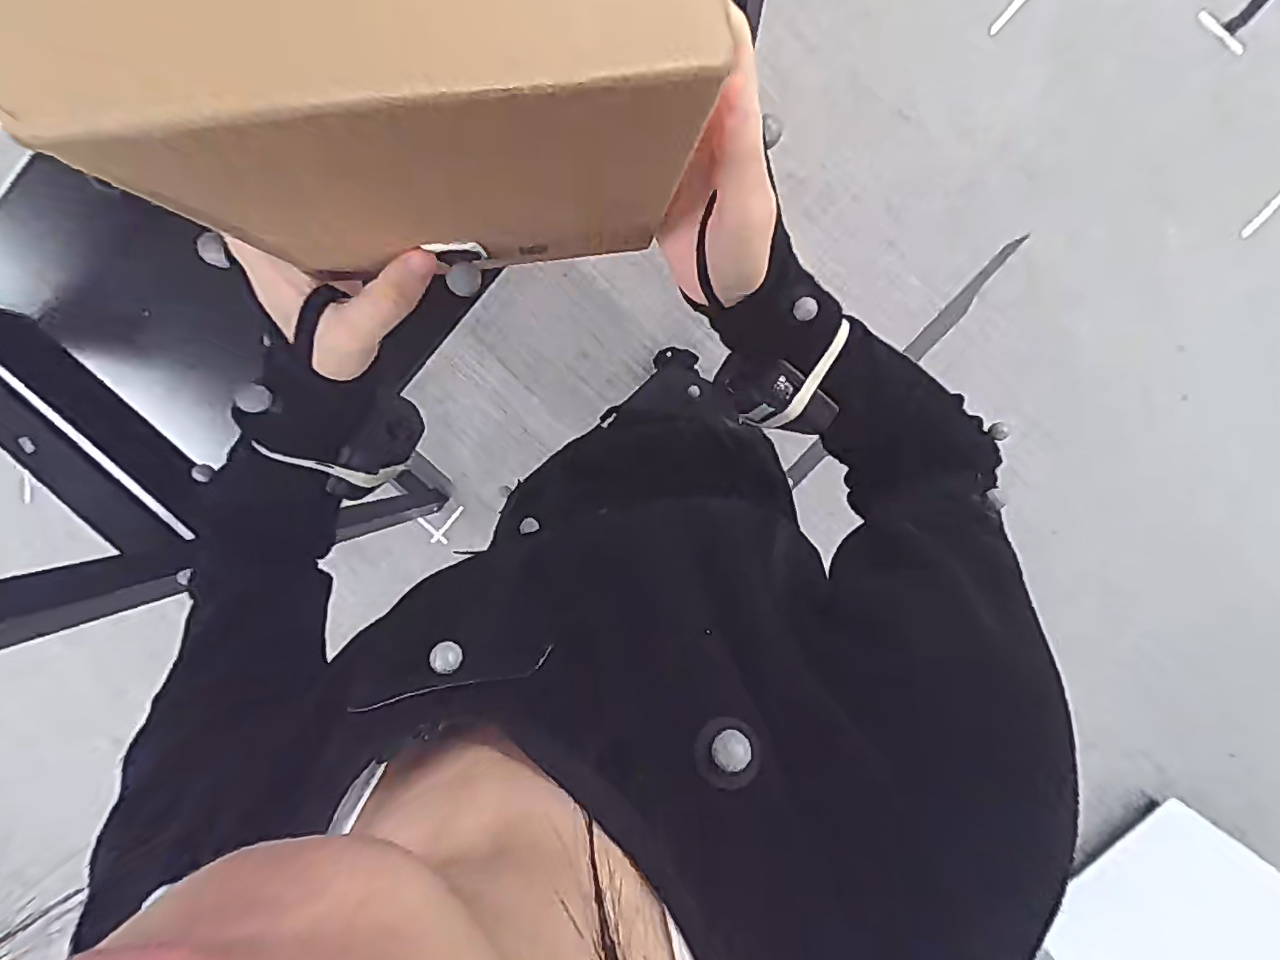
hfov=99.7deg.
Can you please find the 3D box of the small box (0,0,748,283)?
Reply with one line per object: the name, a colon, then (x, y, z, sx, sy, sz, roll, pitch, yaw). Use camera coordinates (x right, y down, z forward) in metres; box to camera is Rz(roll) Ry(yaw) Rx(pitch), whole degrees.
small box: (-0.072, -0.185, 0.192, 0.168, 0.176, 0.179, -9, 100, -4)
